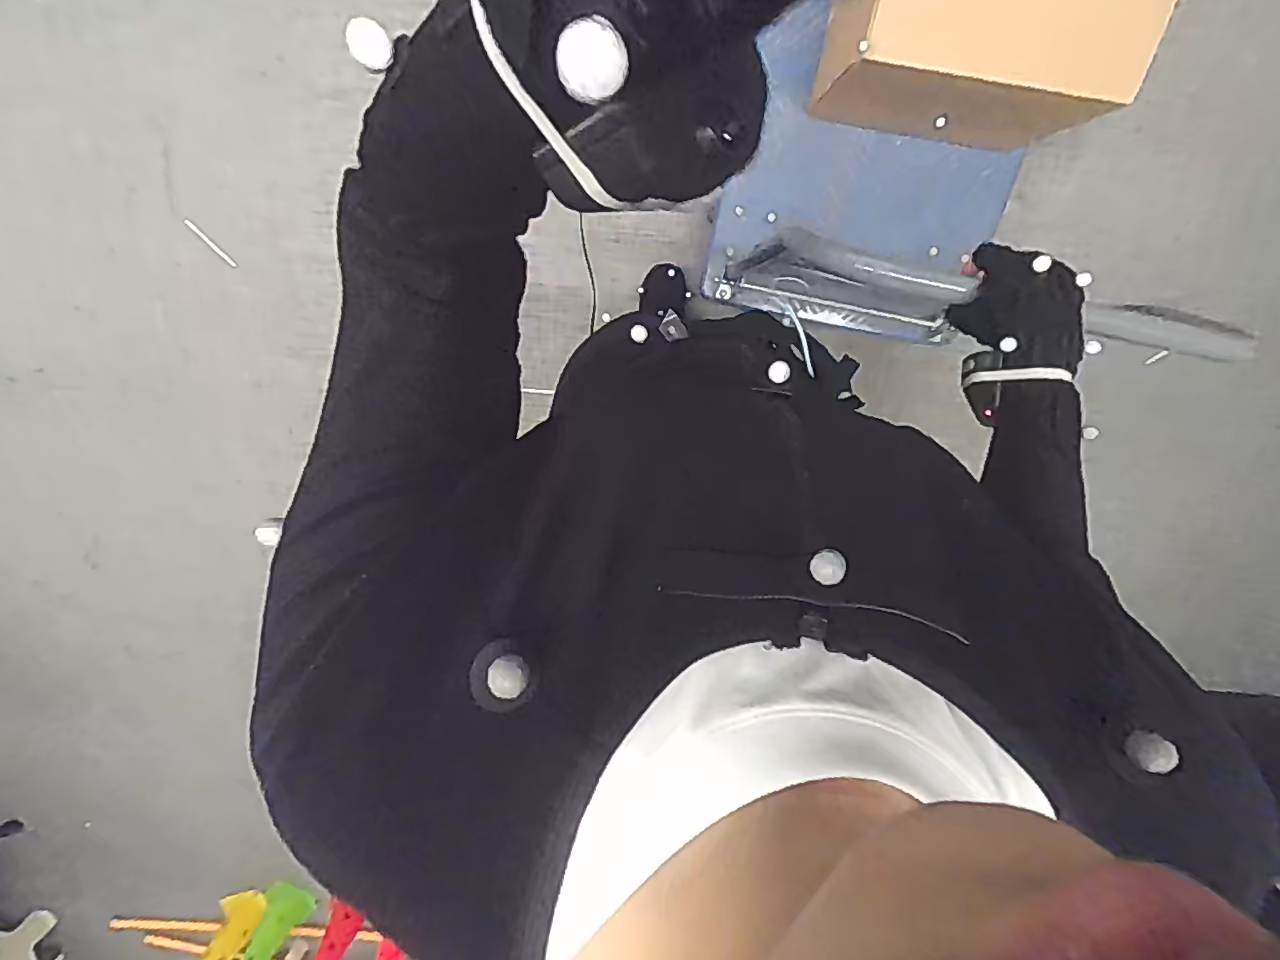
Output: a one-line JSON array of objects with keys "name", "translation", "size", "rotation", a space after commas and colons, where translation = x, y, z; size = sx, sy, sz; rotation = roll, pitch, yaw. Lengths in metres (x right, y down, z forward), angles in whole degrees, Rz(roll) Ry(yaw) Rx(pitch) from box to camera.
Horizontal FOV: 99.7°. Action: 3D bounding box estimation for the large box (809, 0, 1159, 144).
[{"name": "large box", "translation": [0.543, -0.780, 0.882], "size": [0.408, 0.320, 0.320], "rotation": [9, 109, -1]}]
